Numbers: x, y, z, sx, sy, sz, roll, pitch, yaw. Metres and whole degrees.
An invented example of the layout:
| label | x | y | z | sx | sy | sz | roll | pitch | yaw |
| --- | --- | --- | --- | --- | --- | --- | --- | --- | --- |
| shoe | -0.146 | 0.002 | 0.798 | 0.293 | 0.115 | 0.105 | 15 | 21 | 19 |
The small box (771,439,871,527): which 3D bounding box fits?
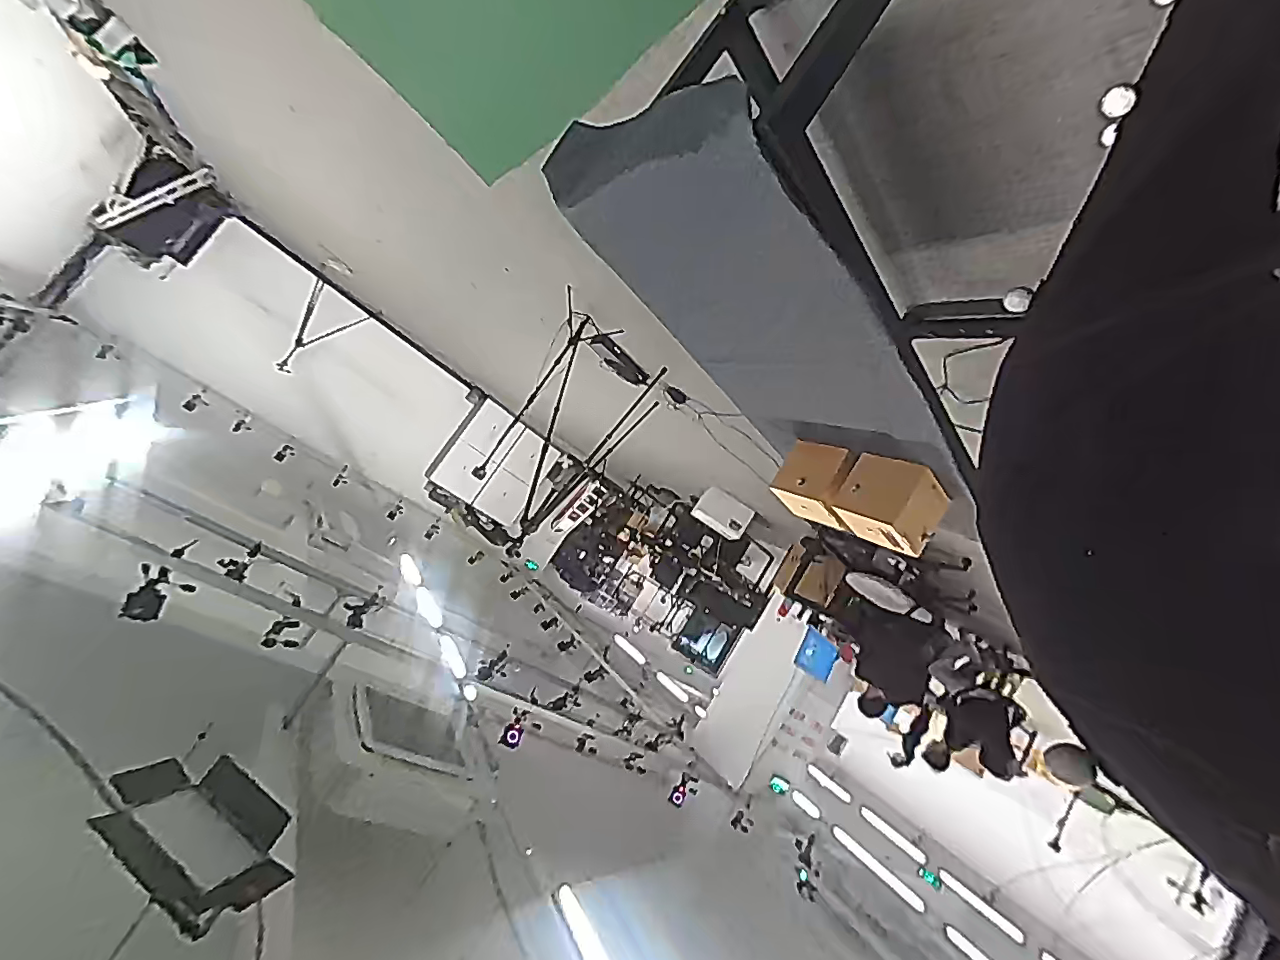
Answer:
| label | x | y | z | sx | sy | sz | roll | pitch | yaw |
| --- | --- | --- | --- | --- | --- | --- | --- | --- | --- |
| small box | 0.509 | 0.003 | 1.513 | 0.168 | 0.176 | 0.179 | 39 | 169 | -36 |
